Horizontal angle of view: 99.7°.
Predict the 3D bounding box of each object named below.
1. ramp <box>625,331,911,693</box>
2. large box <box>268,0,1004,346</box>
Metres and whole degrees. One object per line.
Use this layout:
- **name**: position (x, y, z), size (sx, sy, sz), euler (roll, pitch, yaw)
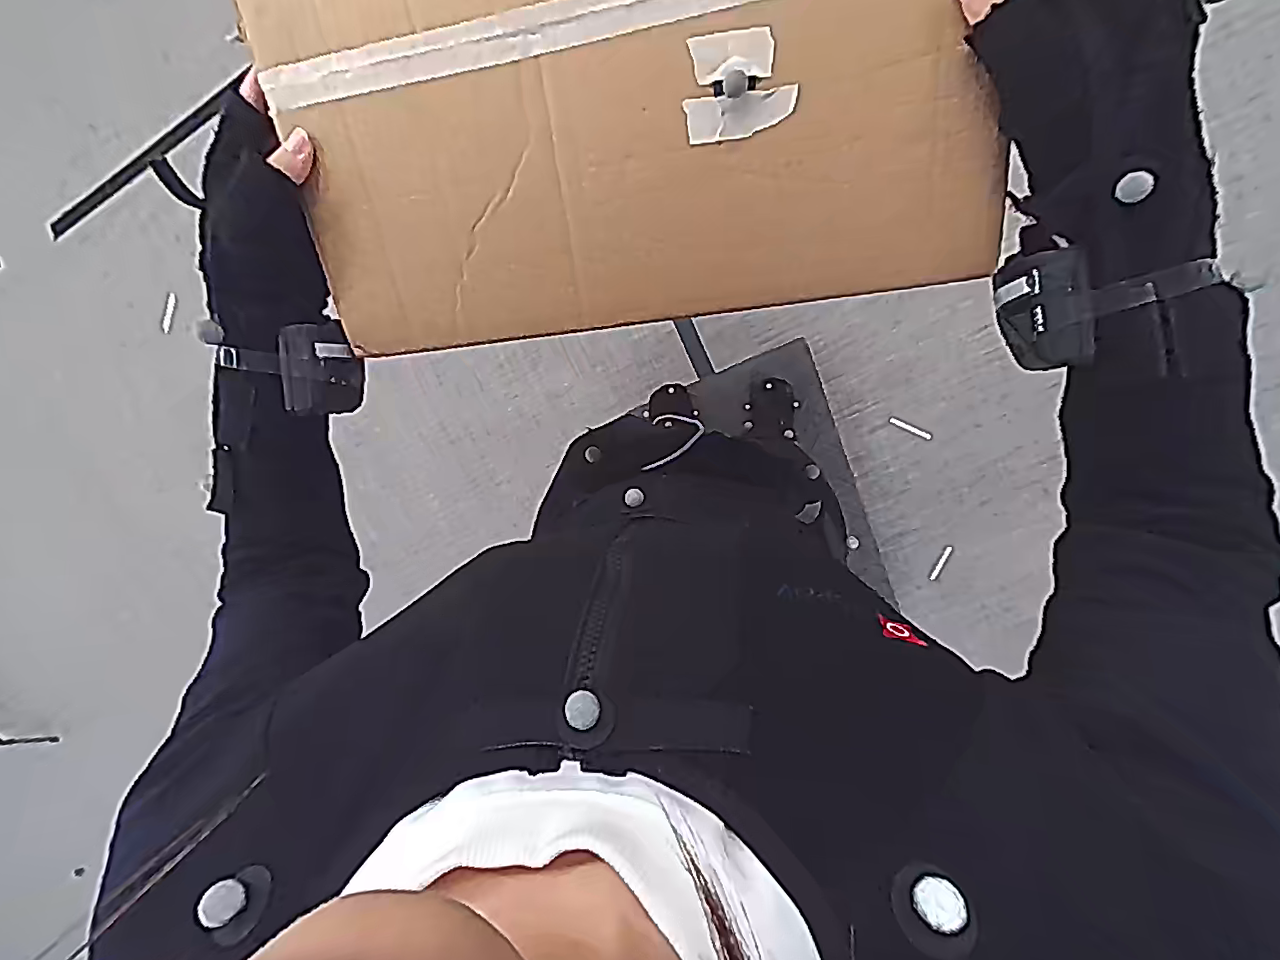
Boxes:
- **ramp**: position (0.382, 0.149, 1.505), size (0.509, 0.206, 0.991), euler (-24, 96, 11)
- **large box**: position (0.002, -0.309, 0.431), size (0.408, 0.320, 0.320), euler (-5, 112, 9)
